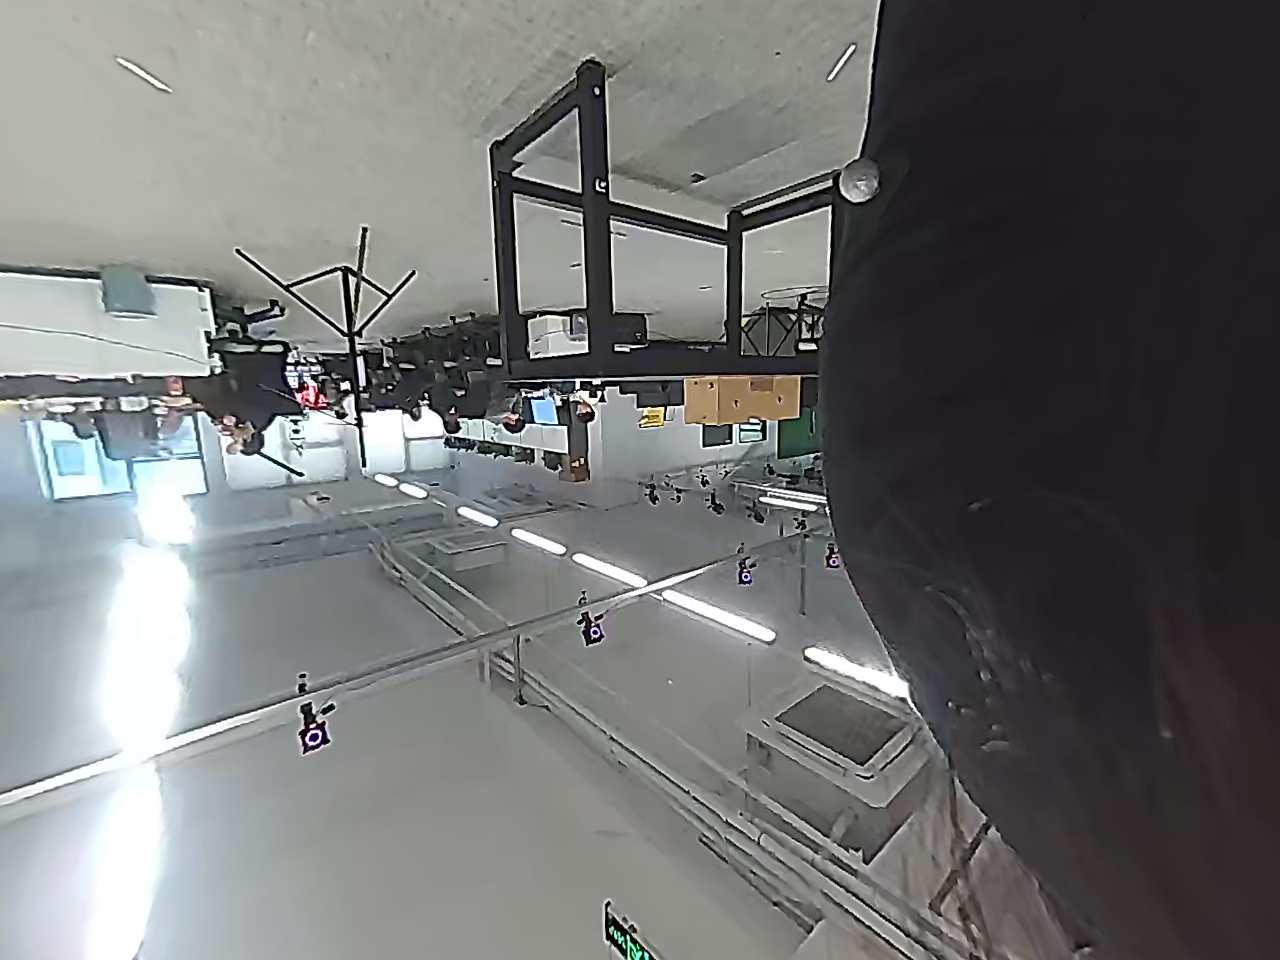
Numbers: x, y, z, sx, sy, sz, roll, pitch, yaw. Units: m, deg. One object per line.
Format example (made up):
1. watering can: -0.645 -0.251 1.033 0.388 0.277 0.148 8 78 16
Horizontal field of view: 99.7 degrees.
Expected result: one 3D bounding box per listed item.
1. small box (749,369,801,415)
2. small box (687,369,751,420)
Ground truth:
1. small box: 0.515 -0.346 2.124 0.179 0.176 0.168 -10 -166 -36
2. small box: 0.281 -0.307 1.948 0.179 0.176 0.168 -11 -166 -39
